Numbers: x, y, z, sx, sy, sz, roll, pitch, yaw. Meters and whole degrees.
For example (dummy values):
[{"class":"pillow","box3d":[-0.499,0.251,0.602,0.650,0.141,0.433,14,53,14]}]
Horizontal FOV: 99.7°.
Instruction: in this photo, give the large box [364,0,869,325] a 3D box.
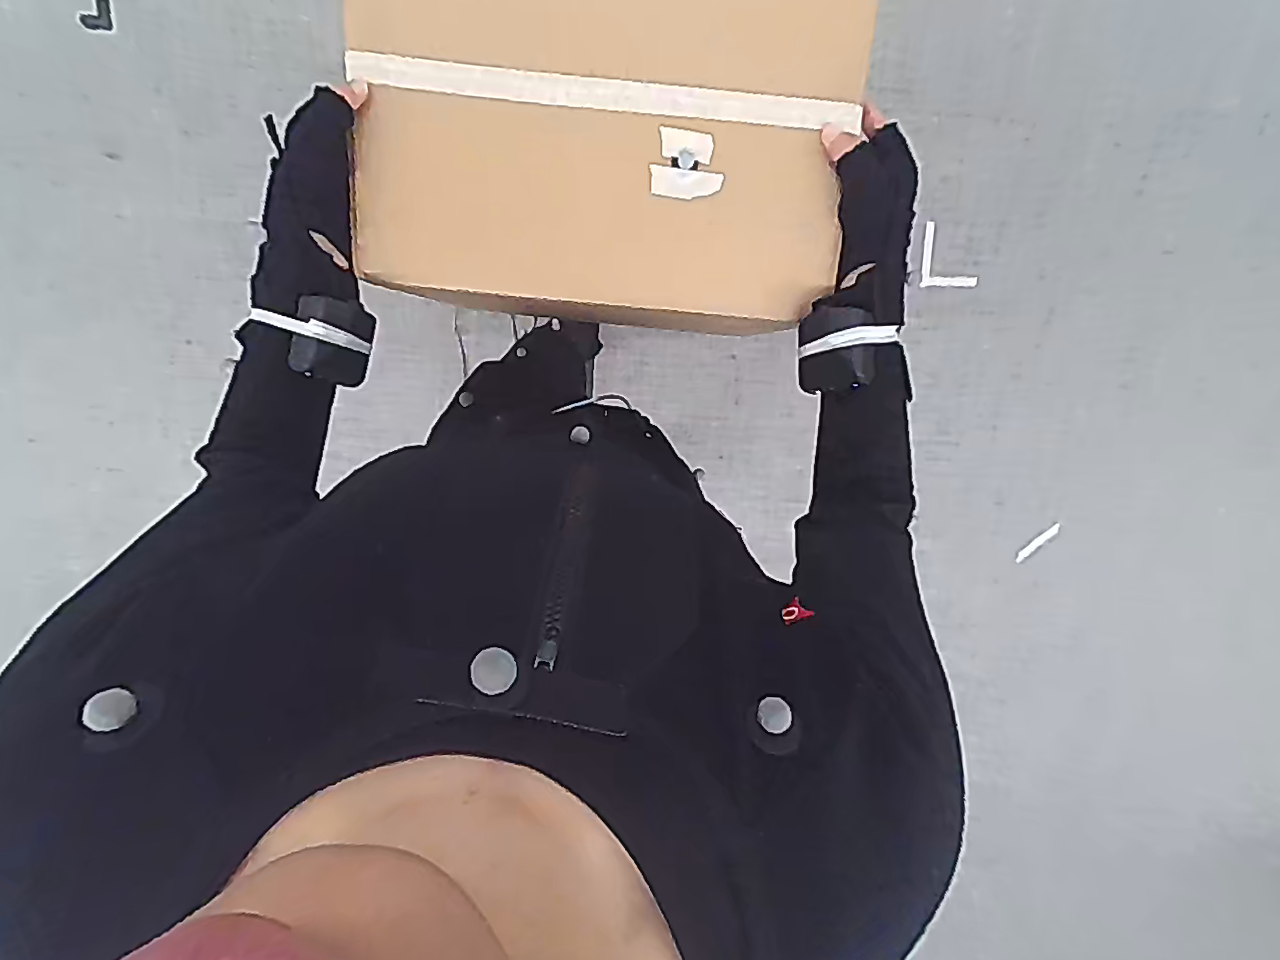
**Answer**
[{"class":"large box","box3d":[-0.027,-0.347,0.584,0.408,0.320,0.320,5,104,-3]}]
